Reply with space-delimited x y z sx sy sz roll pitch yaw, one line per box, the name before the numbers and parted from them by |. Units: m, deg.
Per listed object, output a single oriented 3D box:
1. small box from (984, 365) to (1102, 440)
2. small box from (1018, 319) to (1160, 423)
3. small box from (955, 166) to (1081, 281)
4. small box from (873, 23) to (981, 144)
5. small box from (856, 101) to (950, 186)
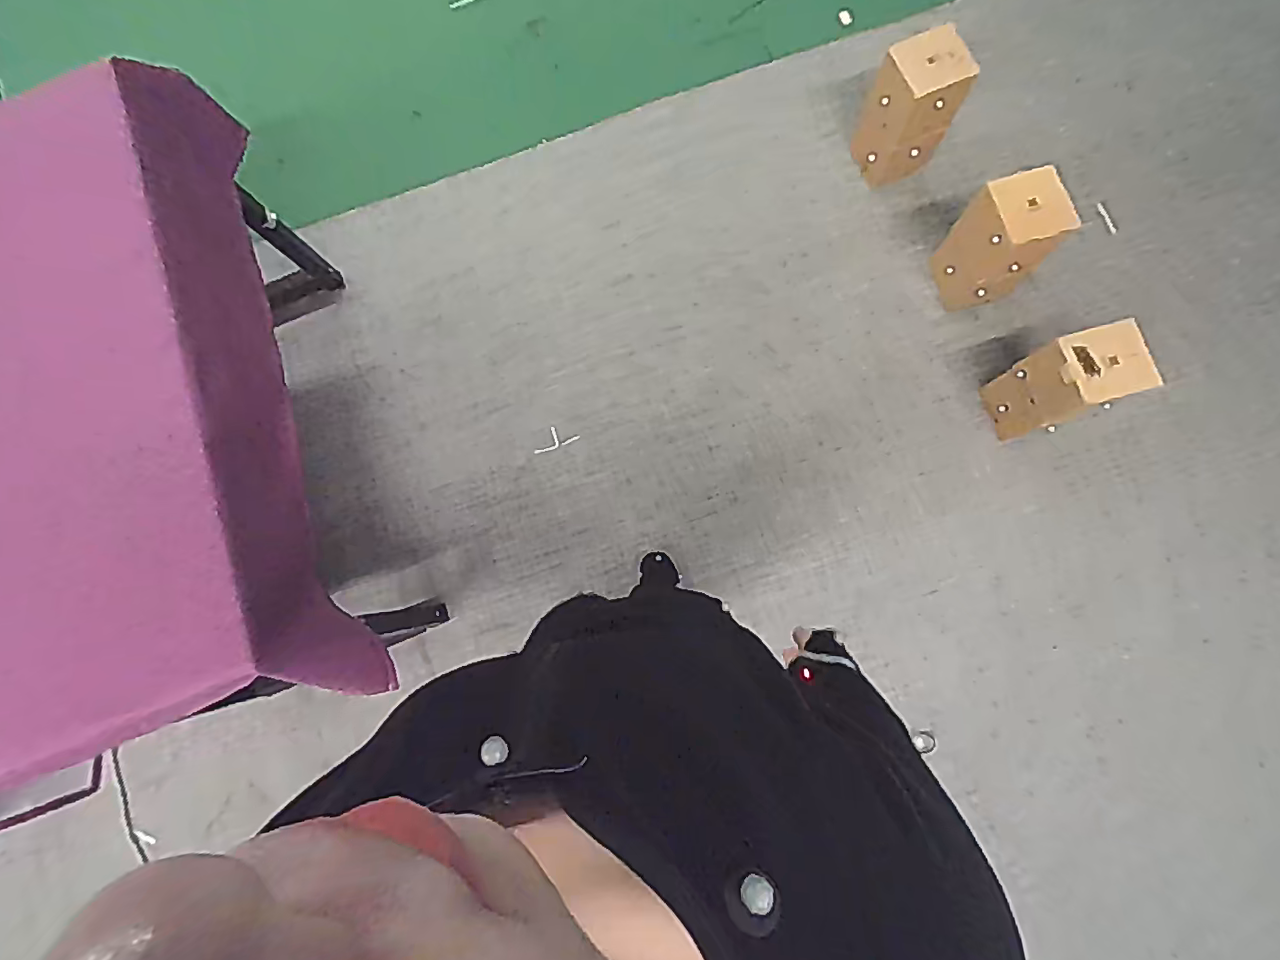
small box | 1.048 -0.217 1.427 0.179 0.176 0.168 -16 80 2
small box | 1.031 -0.246 1.265 0.179 0.176 0.168 -14 80 0
small box | 0.924 -0.629 1.342 0.168 0.176 0.179 -15 79 1
small box | 0.741 -1.035 1.427 0.179 0.176 0.168 -21 80 0
small box | 0.757 -1.006 1.588 0.179 0.176 0.168 -20 80 0
